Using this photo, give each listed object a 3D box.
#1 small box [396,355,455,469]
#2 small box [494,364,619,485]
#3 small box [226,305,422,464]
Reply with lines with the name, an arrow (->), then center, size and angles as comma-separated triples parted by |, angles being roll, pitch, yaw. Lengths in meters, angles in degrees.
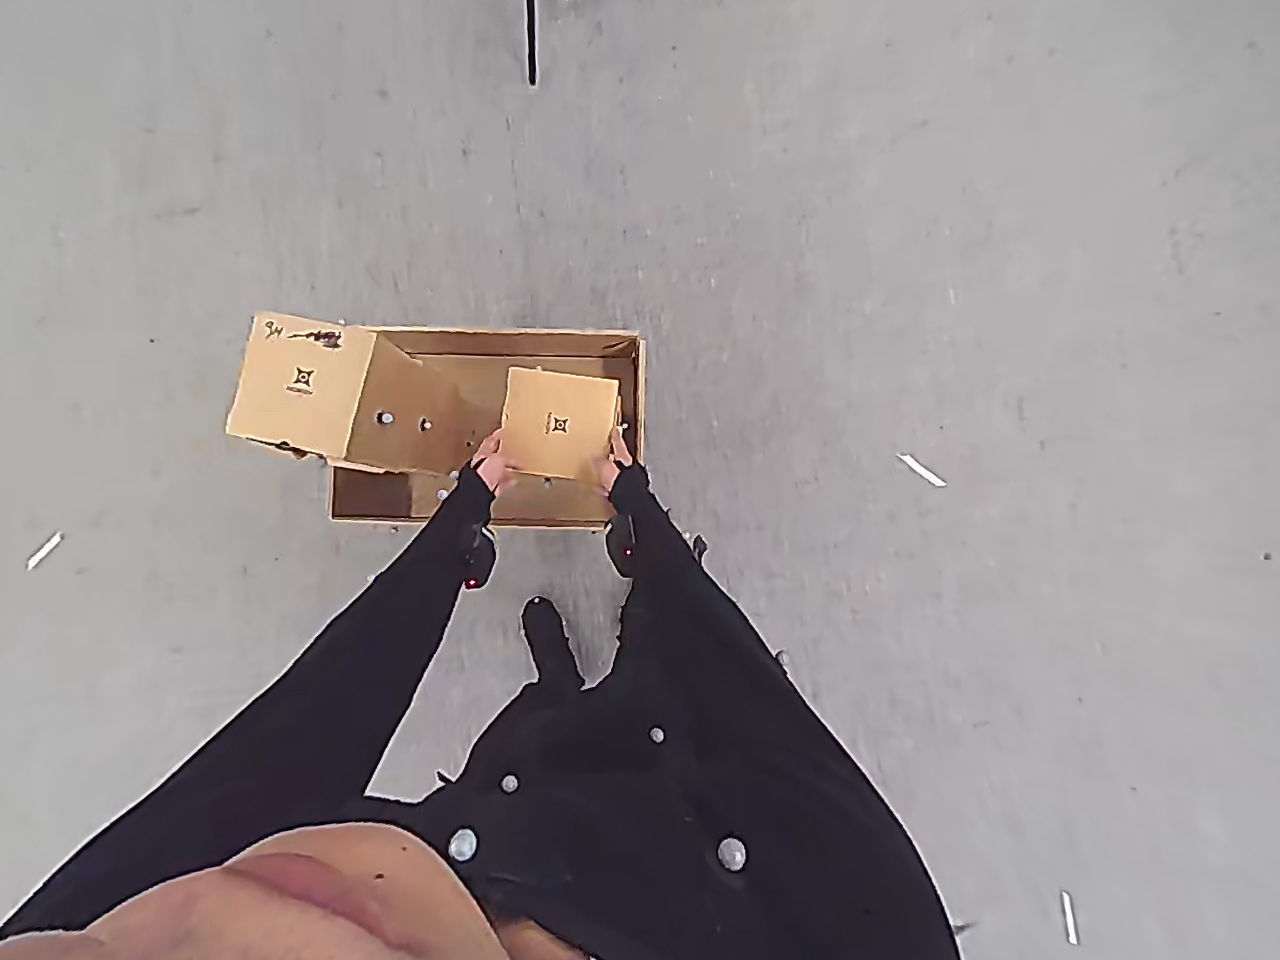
small box -> -0.443, -0.120, 0.951 | 0.168, 0.176, 0.179 | 9, 85, 1
small box -> -0.131, -0.084, 0.914 | 0.179, 0.176, 0.168 | 7, 86, -1
small box -> -0.442, -0.126, 0.786 | 0.168, 0.176, 0.179 | 13, 87, 1
